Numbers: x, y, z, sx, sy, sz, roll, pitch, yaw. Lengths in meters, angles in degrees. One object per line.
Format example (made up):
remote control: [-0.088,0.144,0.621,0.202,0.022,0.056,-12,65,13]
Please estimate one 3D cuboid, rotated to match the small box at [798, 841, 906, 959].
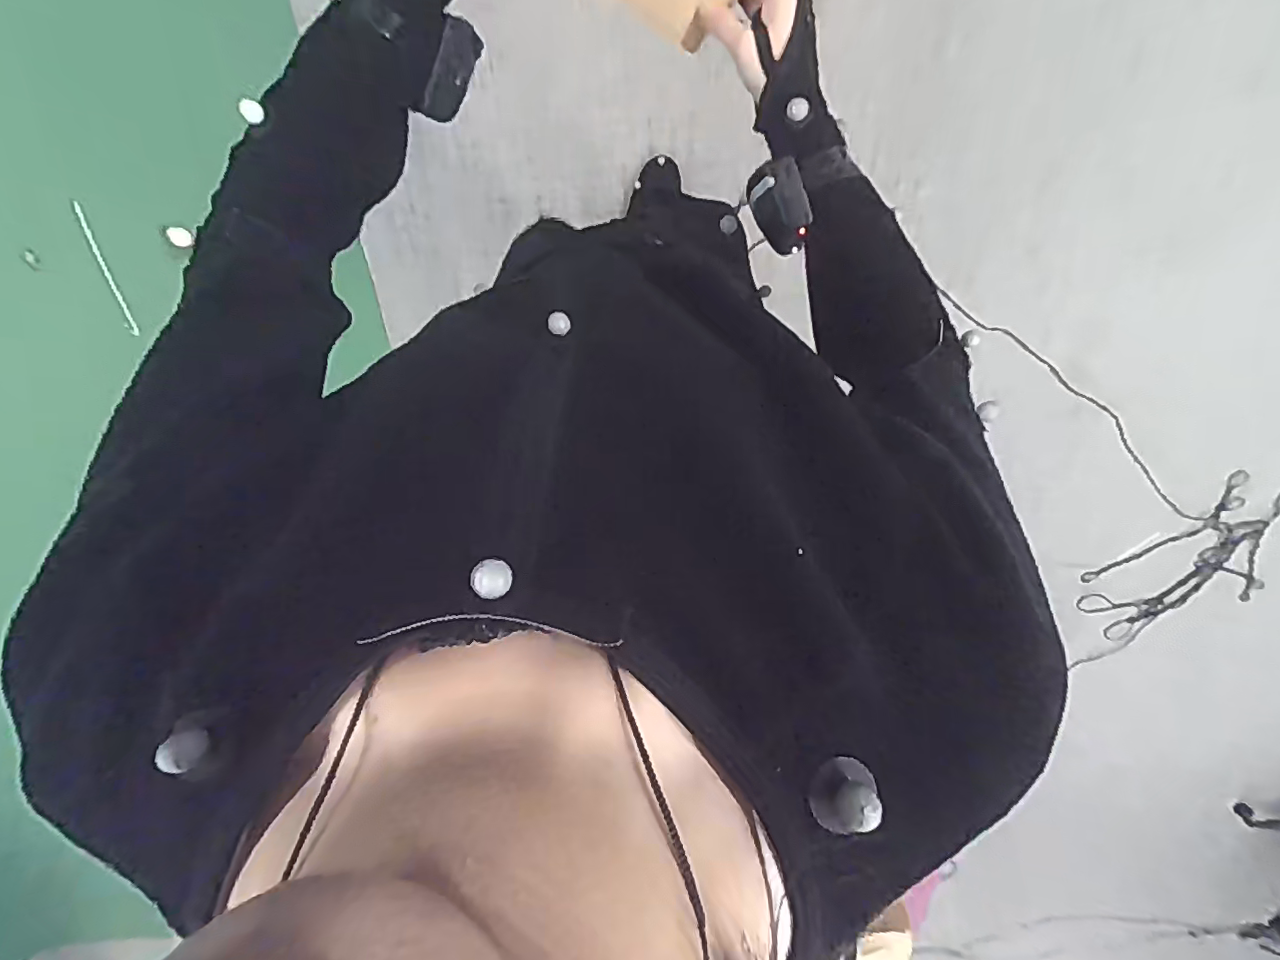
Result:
small box: [0.467,0.941,1.214,0.179,0.176,0.168,-6,117,4]
